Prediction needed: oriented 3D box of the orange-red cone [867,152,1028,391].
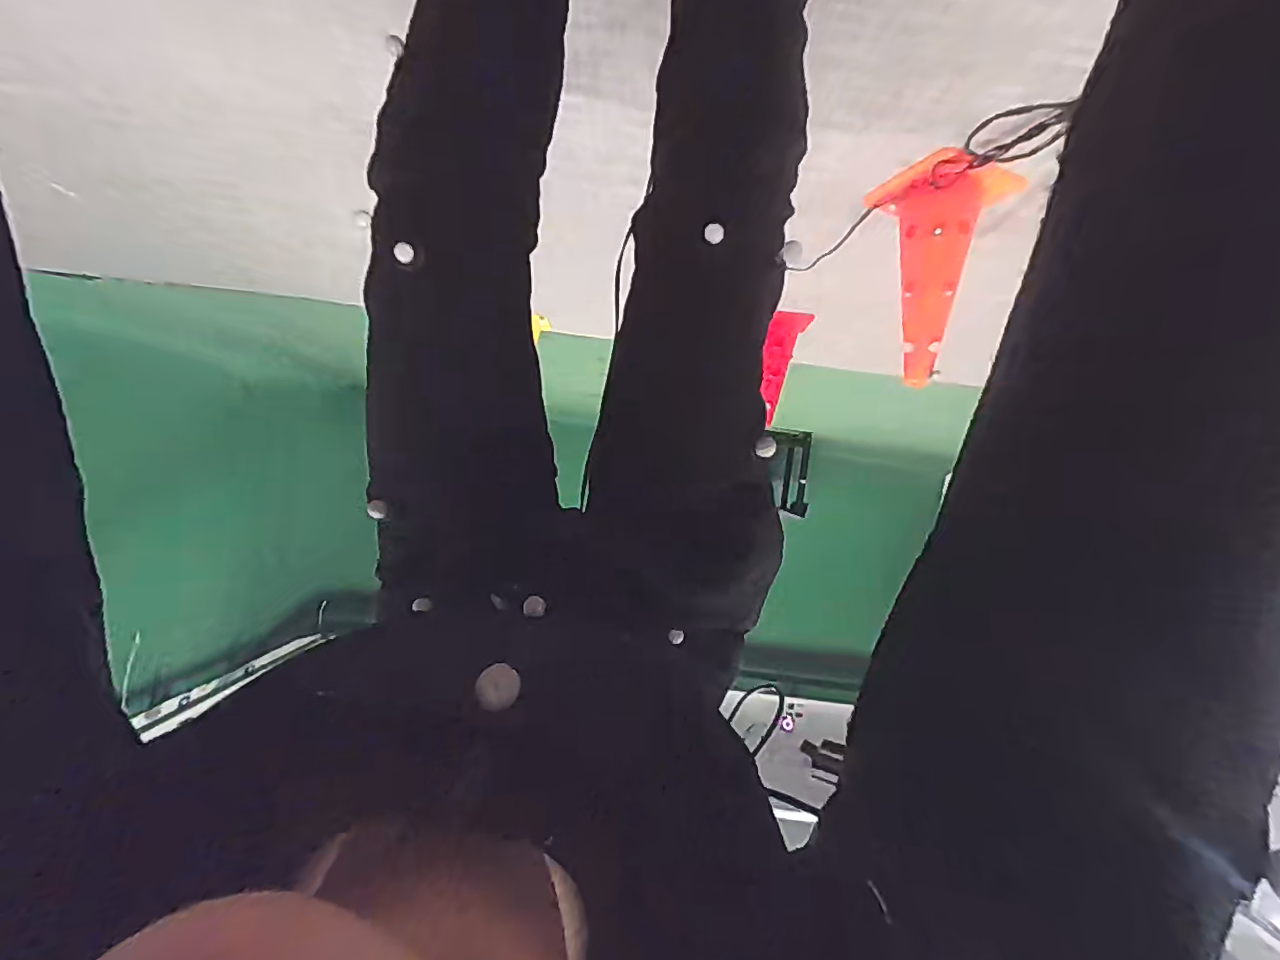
[{"bbox_3d":[0.520,-0.339,0.962,0.199,0.360,0.198,6,-179,-20],"label":"orange-red cone"}]
